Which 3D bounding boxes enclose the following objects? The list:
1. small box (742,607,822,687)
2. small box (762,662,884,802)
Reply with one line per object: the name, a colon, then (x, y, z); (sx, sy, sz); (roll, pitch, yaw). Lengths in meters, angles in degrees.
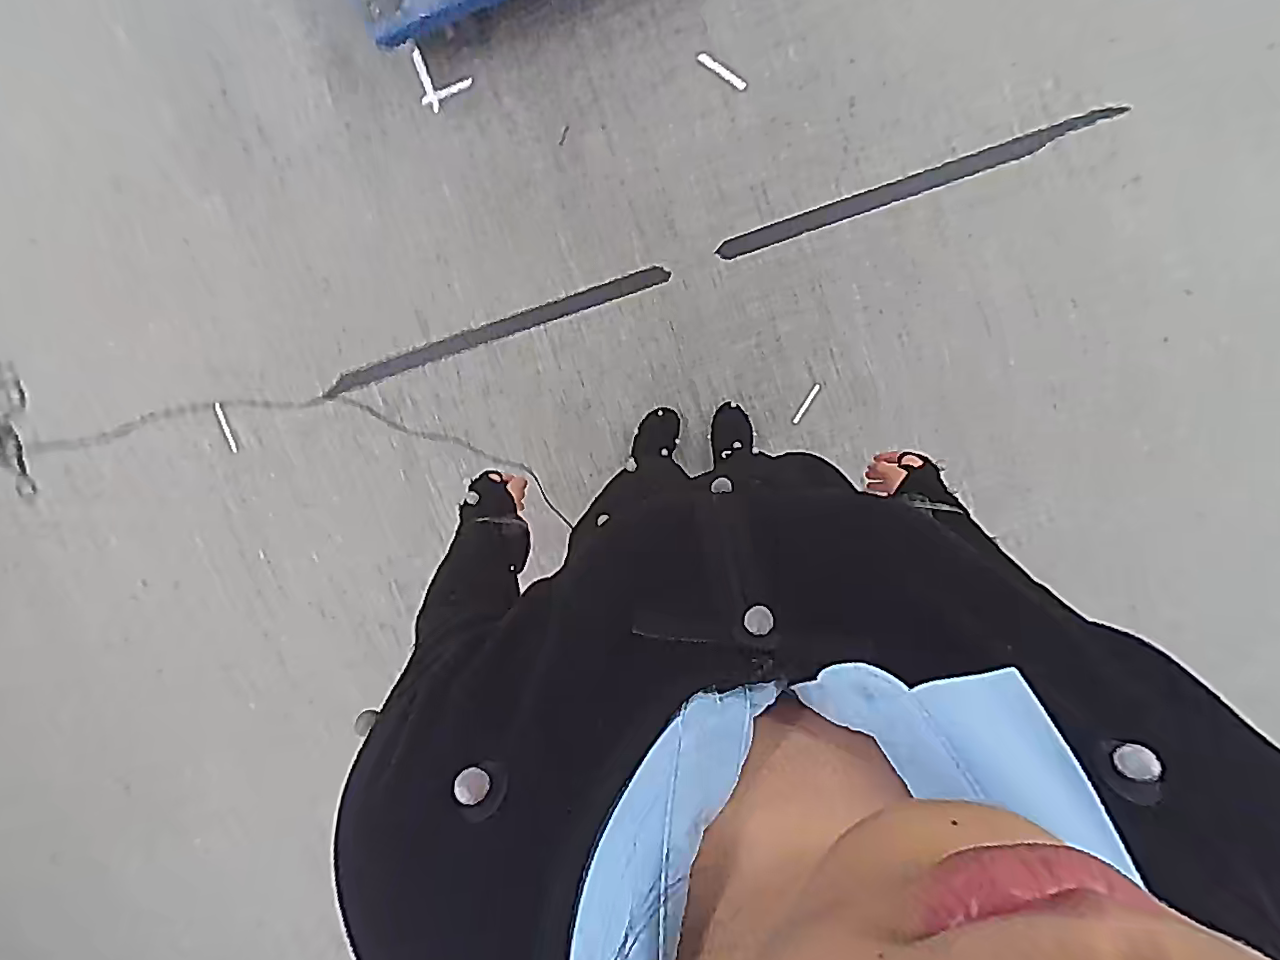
small box: (0.386, 0.469, 1.453); (0.168, 0.176, 0.179); (-20, 95, 4)
small box: (0.372, 0.515, 1.127); (0.168, 0.176, 0.179); (-24, 94, 4)
